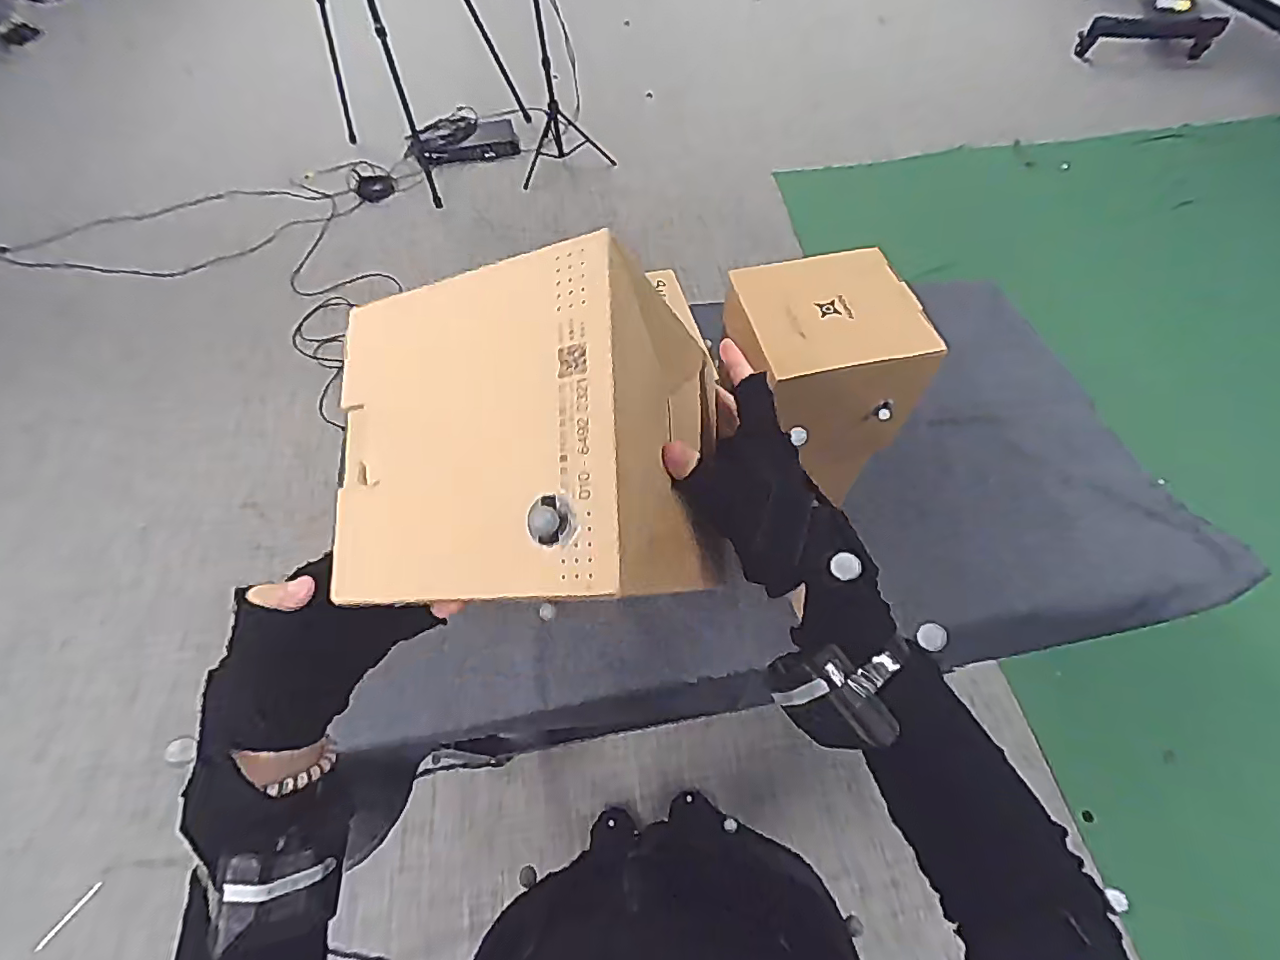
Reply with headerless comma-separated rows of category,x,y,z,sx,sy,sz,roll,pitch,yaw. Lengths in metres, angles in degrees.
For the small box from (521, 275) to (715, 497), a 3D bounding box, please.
small box,-0.023,-0.100,0.622,0.179,0.176,0.168,-14,60,-5
